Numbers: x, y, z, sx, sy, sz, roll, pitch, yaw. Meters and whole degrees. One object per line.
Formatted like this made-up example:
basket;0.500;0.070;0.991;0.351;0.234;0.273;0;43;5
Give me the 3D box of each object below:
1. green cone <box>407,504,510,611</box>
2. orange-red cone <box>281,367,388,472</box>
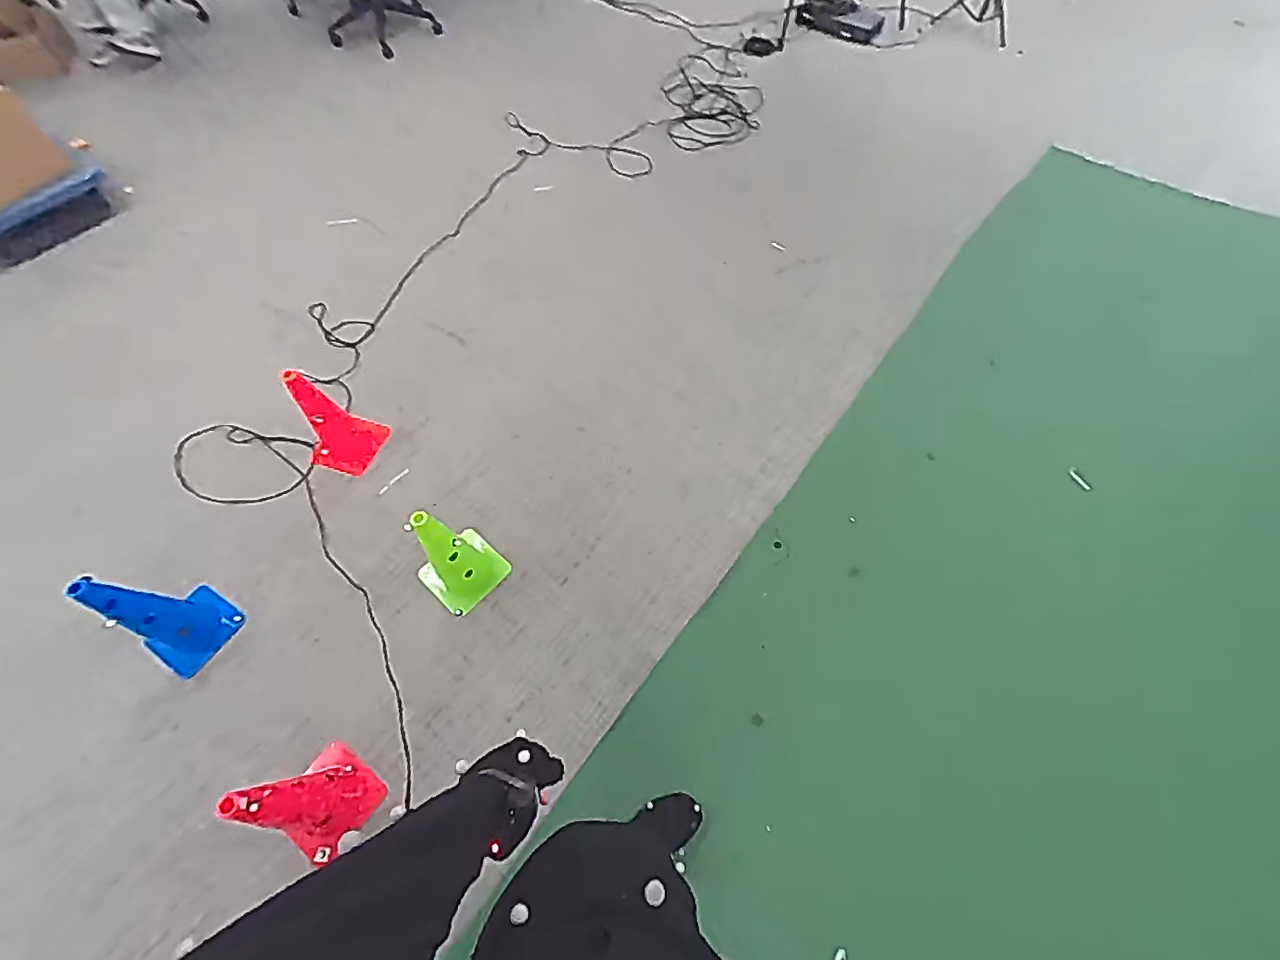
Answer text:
green cone;-0.504;0.162;1.395;0.202;0.368;0.200;36;67;20
orange-red cone;-0.950;-0.209;1.616;0.199;0.360;0.198;18;64;9
